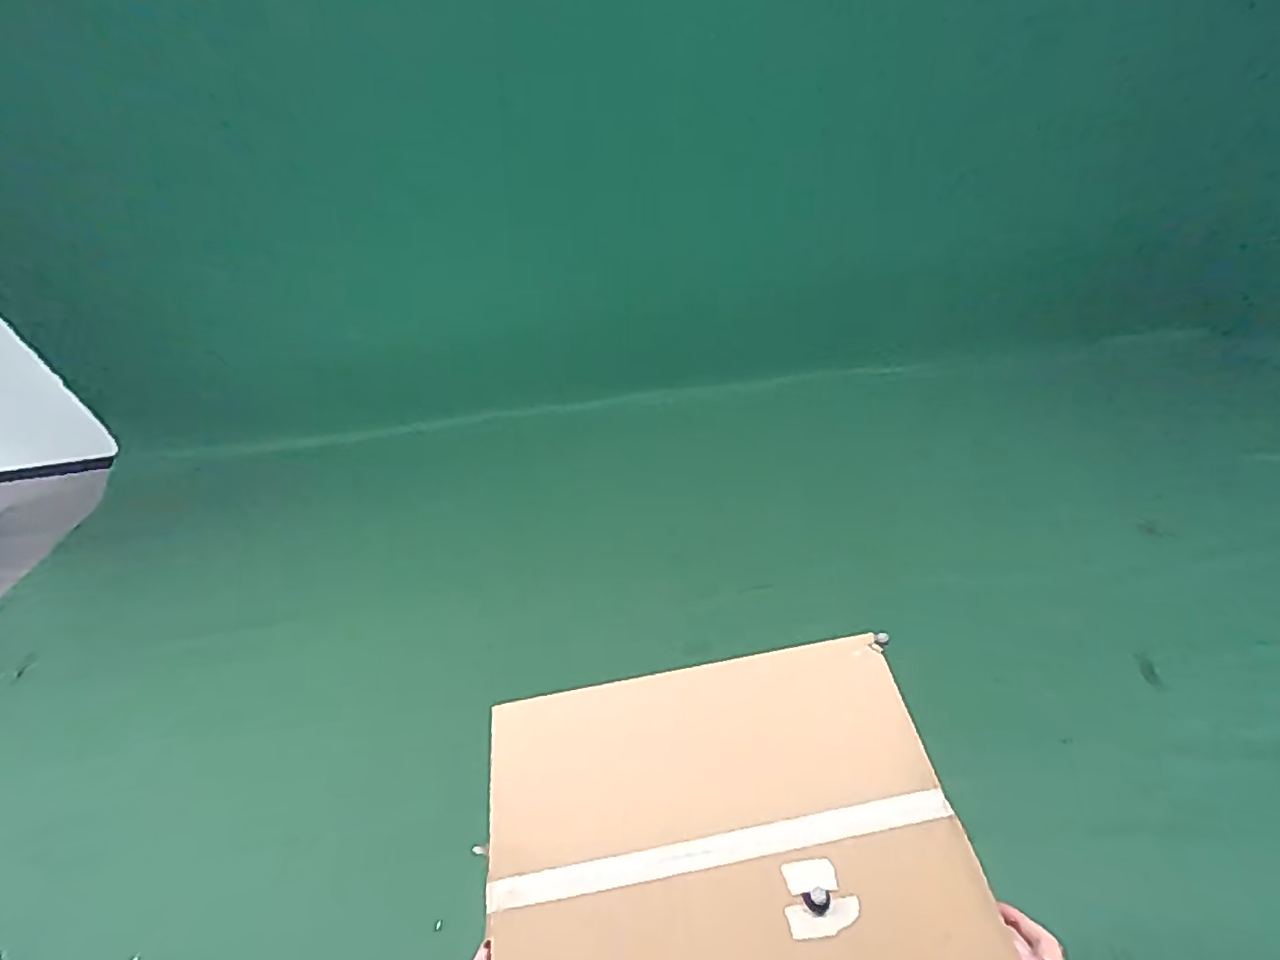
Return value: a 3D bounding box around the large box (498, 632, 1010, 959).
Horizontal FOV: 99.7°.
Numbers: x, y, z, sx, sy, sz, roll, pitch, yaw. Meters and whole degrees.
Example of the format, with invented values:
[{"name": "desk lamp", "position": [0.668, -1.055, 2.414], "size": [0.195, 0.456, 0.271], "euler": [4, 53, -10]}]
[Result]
[{"name": "large box", "position": [0.083, 0.408, 0.599], "size": [0.408, 0.320, 0.320], "euler": [-10, 54, -2]}]
